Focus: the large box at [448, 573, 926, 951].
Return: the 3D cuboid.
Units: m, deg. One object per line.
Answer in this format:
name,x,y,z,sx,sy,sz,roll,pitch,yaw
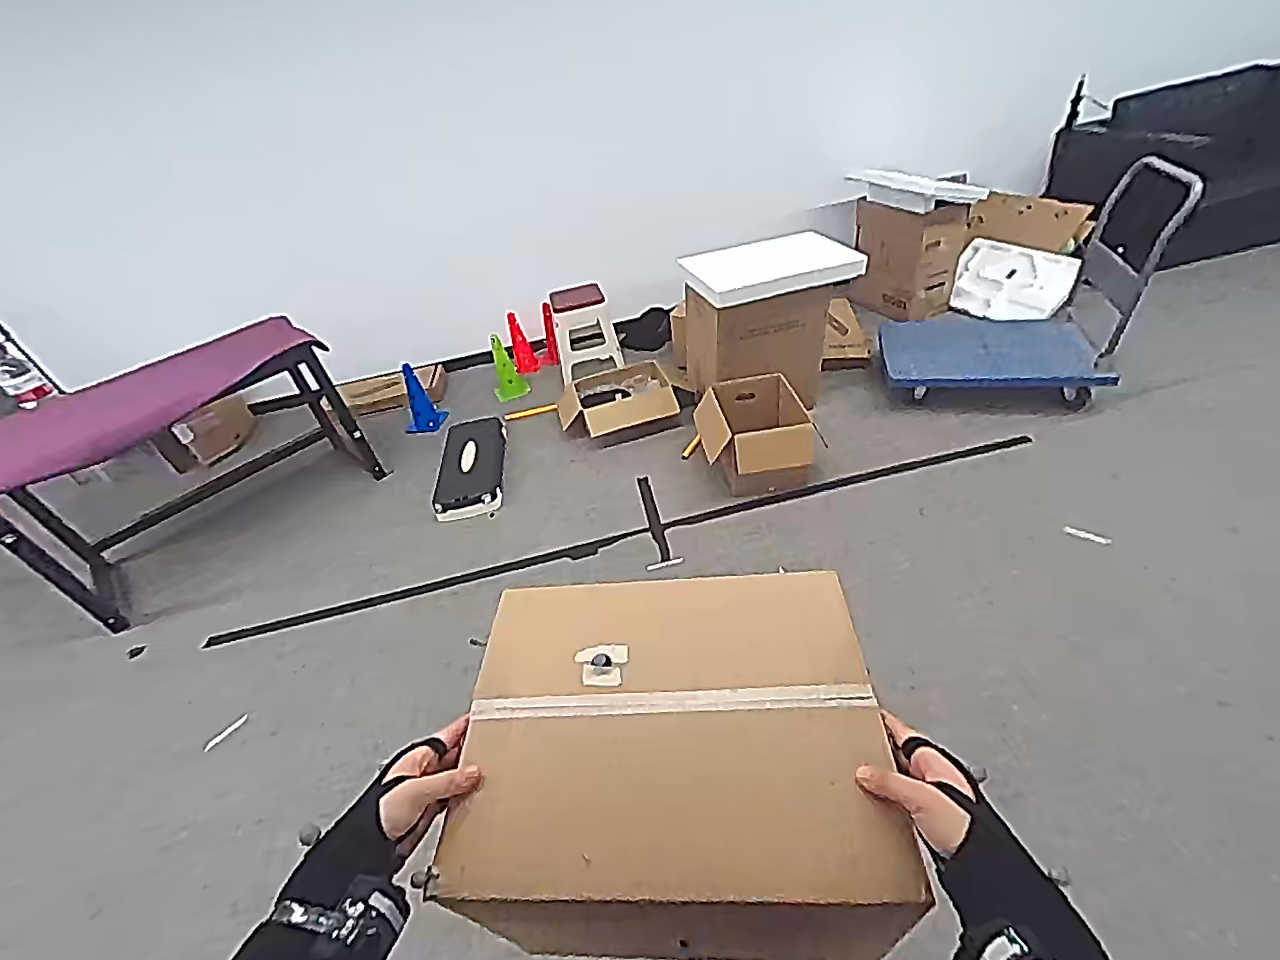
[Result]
large box,0.055,0.343,0.650,0.408,0.320,0.320,-6,41,7
